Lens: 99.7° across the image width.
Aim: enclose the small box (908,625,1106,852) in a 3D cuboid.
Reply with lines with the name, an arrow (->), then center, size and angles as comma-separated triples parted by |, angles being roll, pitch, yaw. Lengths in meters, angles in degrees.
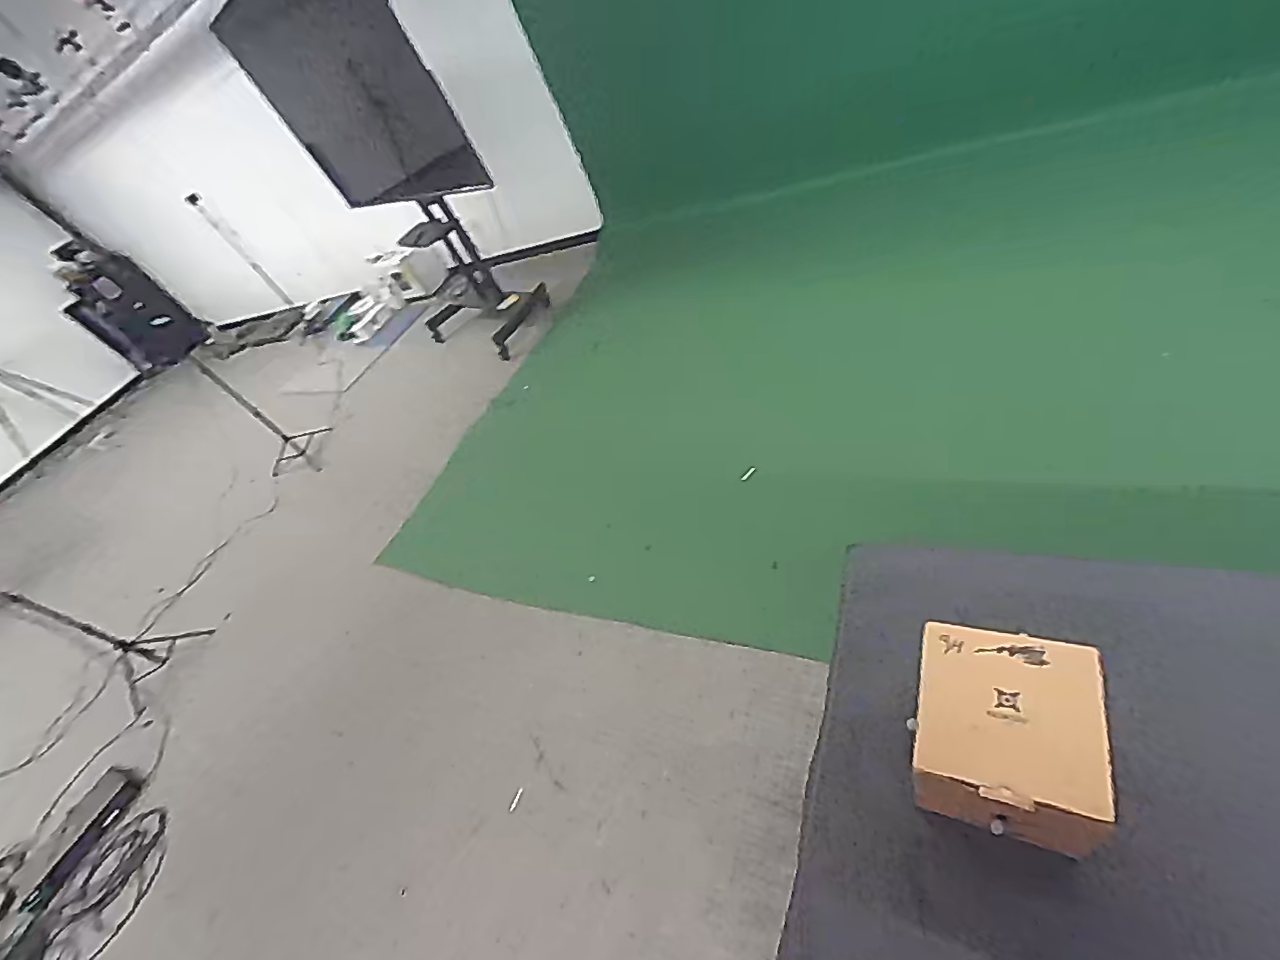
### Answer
small box -> 0.415, 0.298, 0.628 | 0.168, 0.176, 0.179 | 4, 52, 31
